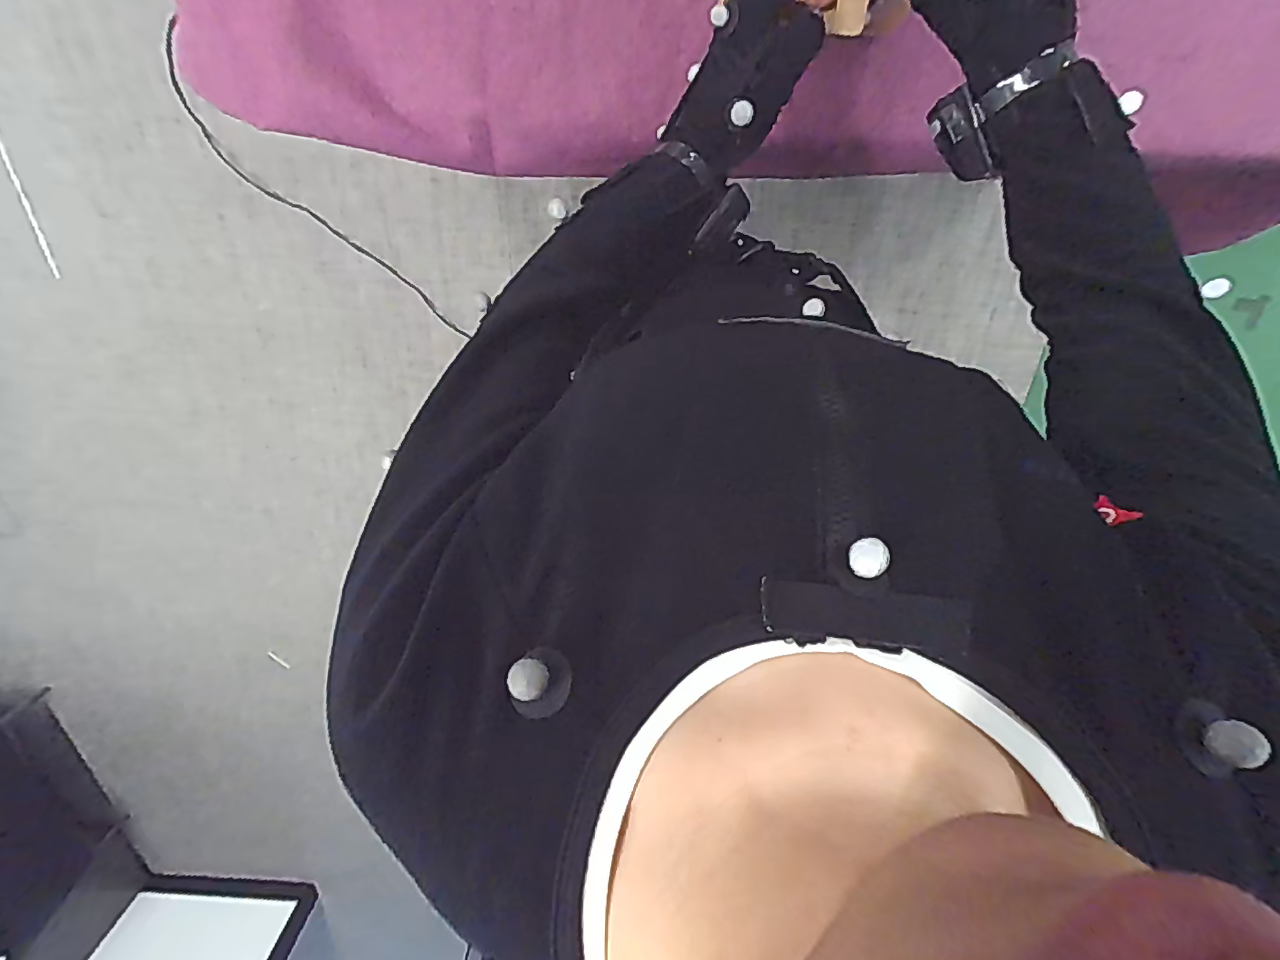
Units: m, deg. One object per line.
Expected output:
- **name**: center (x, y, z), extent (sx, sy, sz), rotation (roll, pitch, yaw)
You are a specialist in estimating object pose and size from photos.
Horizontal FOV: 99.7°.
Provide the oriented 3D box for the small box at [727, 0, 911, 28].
- **small box**: center (0.160, -0.483, 0.419), extent (0.168, 0.176, 0.179), rotation (4, 116, 1)
